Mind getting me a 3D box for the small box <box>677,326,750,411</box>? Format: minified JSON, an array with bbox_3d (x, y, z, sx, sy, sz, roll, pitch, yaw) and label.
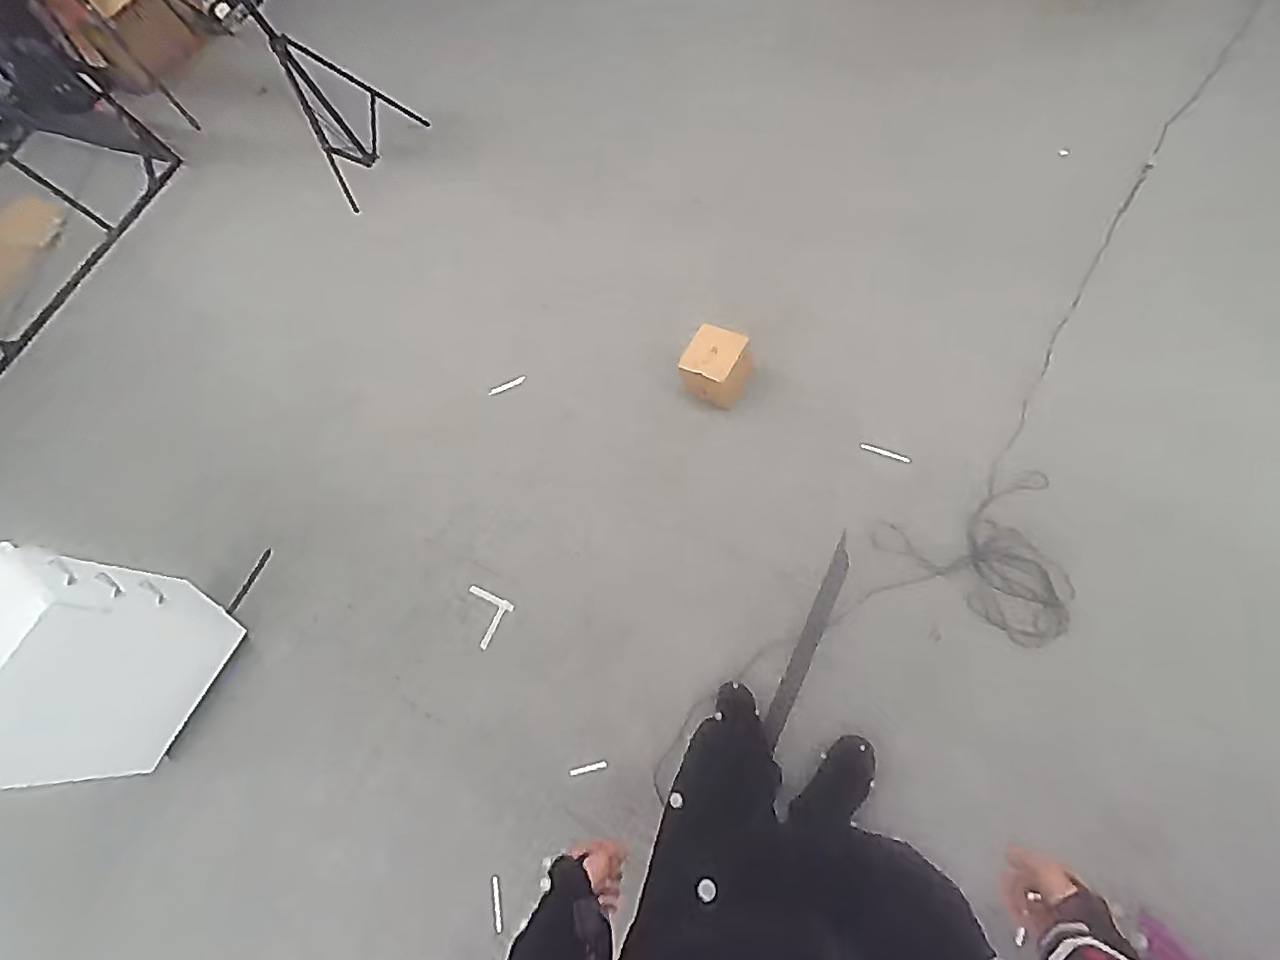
[{"bbox_3d":[0.240,-0.352,1.726,0.168,0.176,0.179,26,77,24],"label":"small box"}]
